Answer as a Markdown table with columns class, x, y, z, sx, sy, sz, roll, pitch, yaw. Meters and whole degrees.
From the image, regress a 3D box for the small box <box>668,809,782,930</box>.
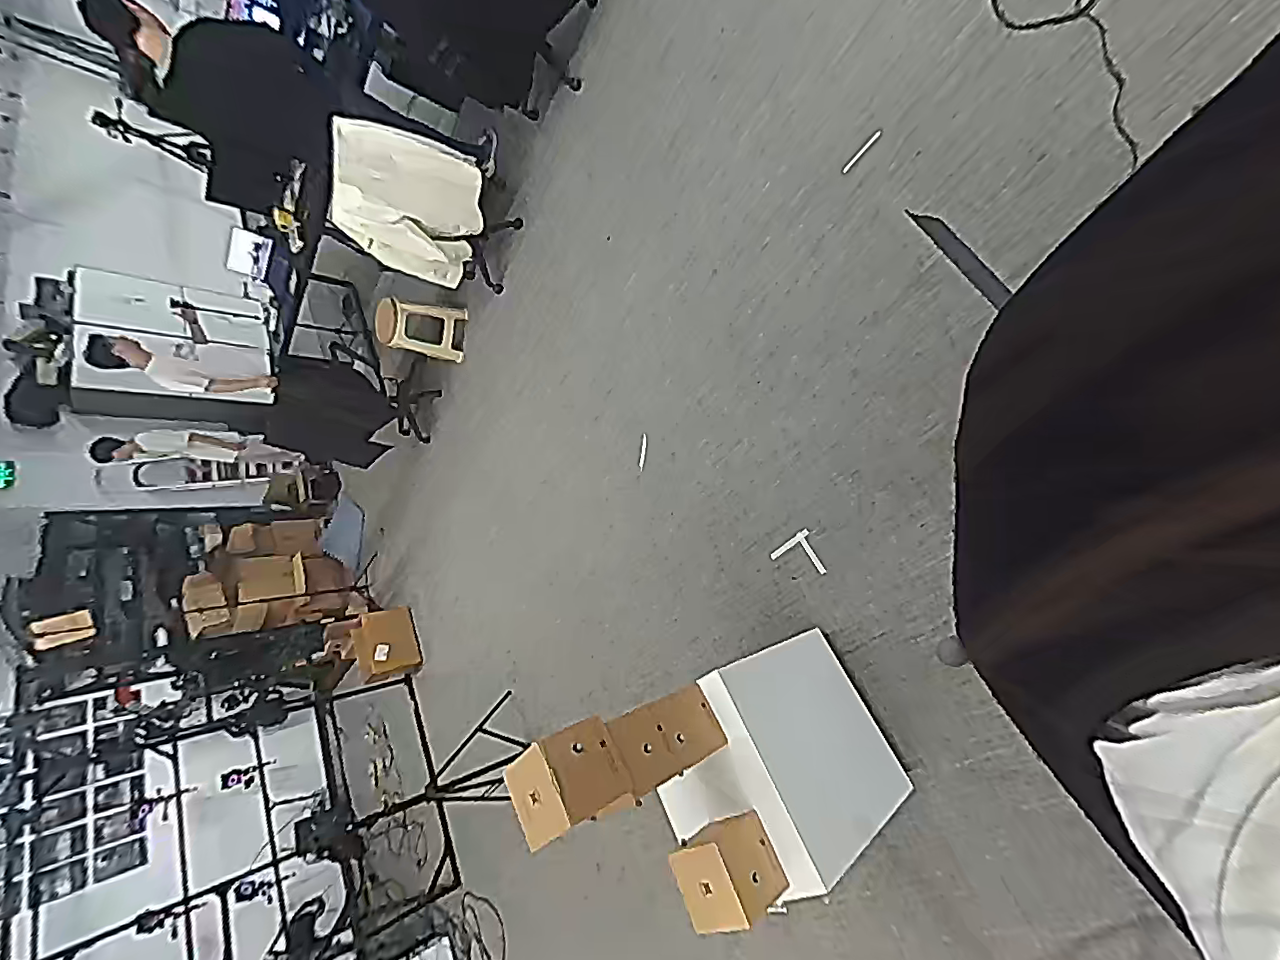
| class | x | y | z | sx | sy | sz | roll | pitch | yaw |
| --- | --- | --- | --- | --- | --- | --- | --- | --- | --- |
| small box | 0.203 | 0.893 | 1.251 | 0.179 | 0.176 | 0.168 | -45 | 61 | 36 |

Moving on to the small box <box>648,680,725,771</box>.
| class | x | y | z | sx | sy | sz | roll | pitch | yaw |
| --- | --- | --- | --- | --- | --- | --- | --- | --- | --- |
| small box | 0.080 | 0.634 | 1.365 | 0.179 | 0.176 | 0.168 | -48 | 61 | 35 |

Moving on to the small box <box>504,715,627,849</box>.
| class | x | y | z | sx | sy | sz | roll | pitch | yaw |
| --- | --- | --- | --- | --- | --- | --- | --- | --- | --- |
| small box | -0.149 | 0.622 | 1.130 | 0.179 | 0.176 | 0.168 | -52 | 57 | 32 |

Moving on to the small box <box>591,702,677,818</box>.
| class | x | y | z | sx | sy | sz | roll | pitch | yaw |
| --- | --- | --- | --- | --- | --- | --- | --- | --- | --- |
| small box | -0.036 | 0.638 | 1.247 | 0.179 | 0.176 | 0.168 | -47 | 60 | 35 |
